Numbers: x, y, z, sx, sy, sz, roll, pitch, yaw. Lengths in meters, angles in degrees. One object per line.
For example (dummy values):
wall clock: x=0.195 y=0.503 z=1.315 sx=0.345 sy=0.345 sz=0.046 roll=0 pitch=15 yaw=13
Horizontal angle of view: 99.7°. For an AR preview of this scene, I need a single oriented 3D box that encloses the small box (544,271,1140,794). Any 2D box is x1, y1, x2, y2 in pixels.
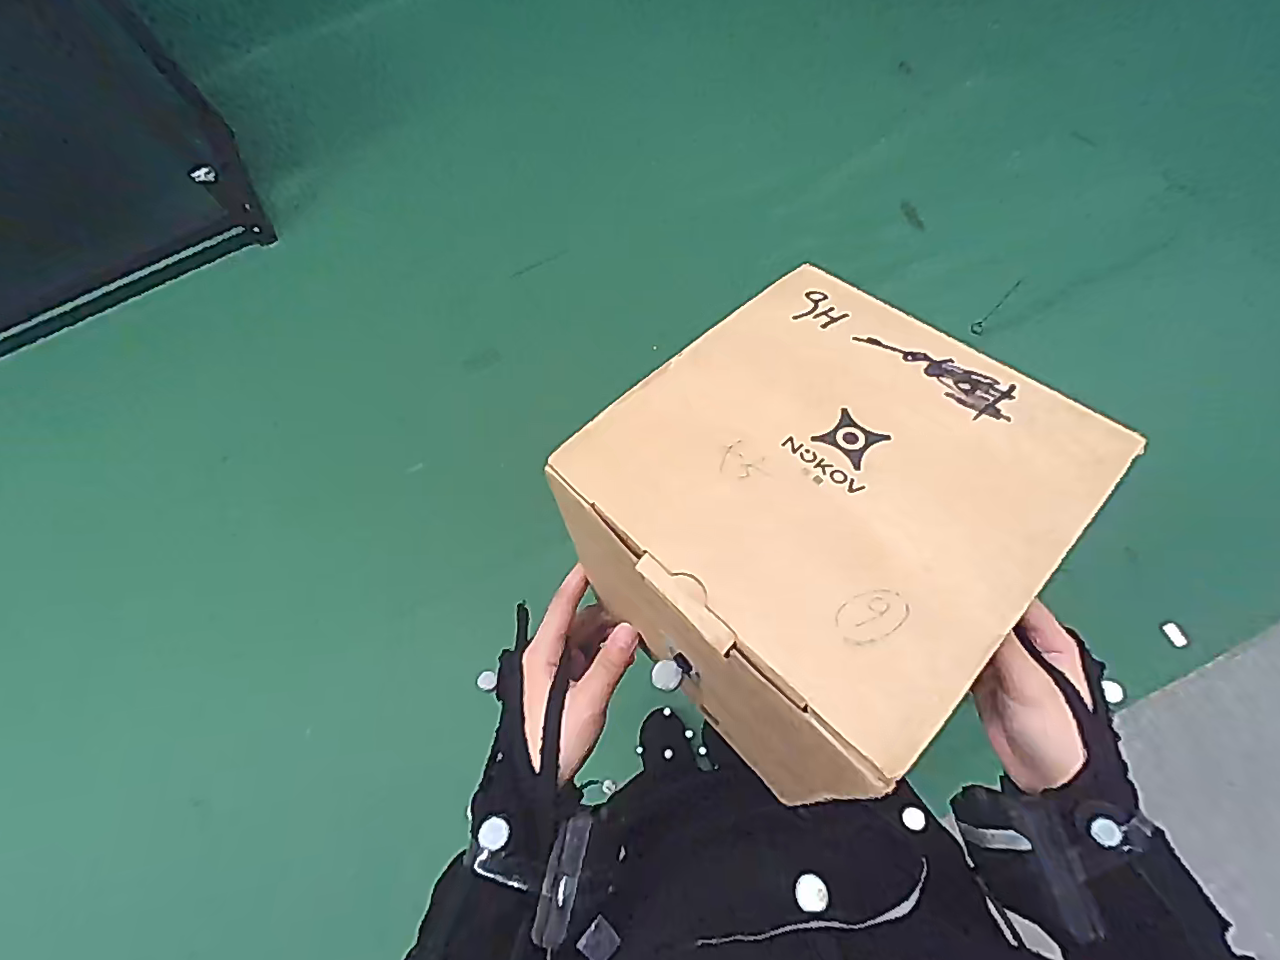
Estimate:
small box: x=0.082 y=0.035 z=0.283 sx=0.179 sy=0.176 sz=0.168 roll=-39 pitch=63 yaw=-18
